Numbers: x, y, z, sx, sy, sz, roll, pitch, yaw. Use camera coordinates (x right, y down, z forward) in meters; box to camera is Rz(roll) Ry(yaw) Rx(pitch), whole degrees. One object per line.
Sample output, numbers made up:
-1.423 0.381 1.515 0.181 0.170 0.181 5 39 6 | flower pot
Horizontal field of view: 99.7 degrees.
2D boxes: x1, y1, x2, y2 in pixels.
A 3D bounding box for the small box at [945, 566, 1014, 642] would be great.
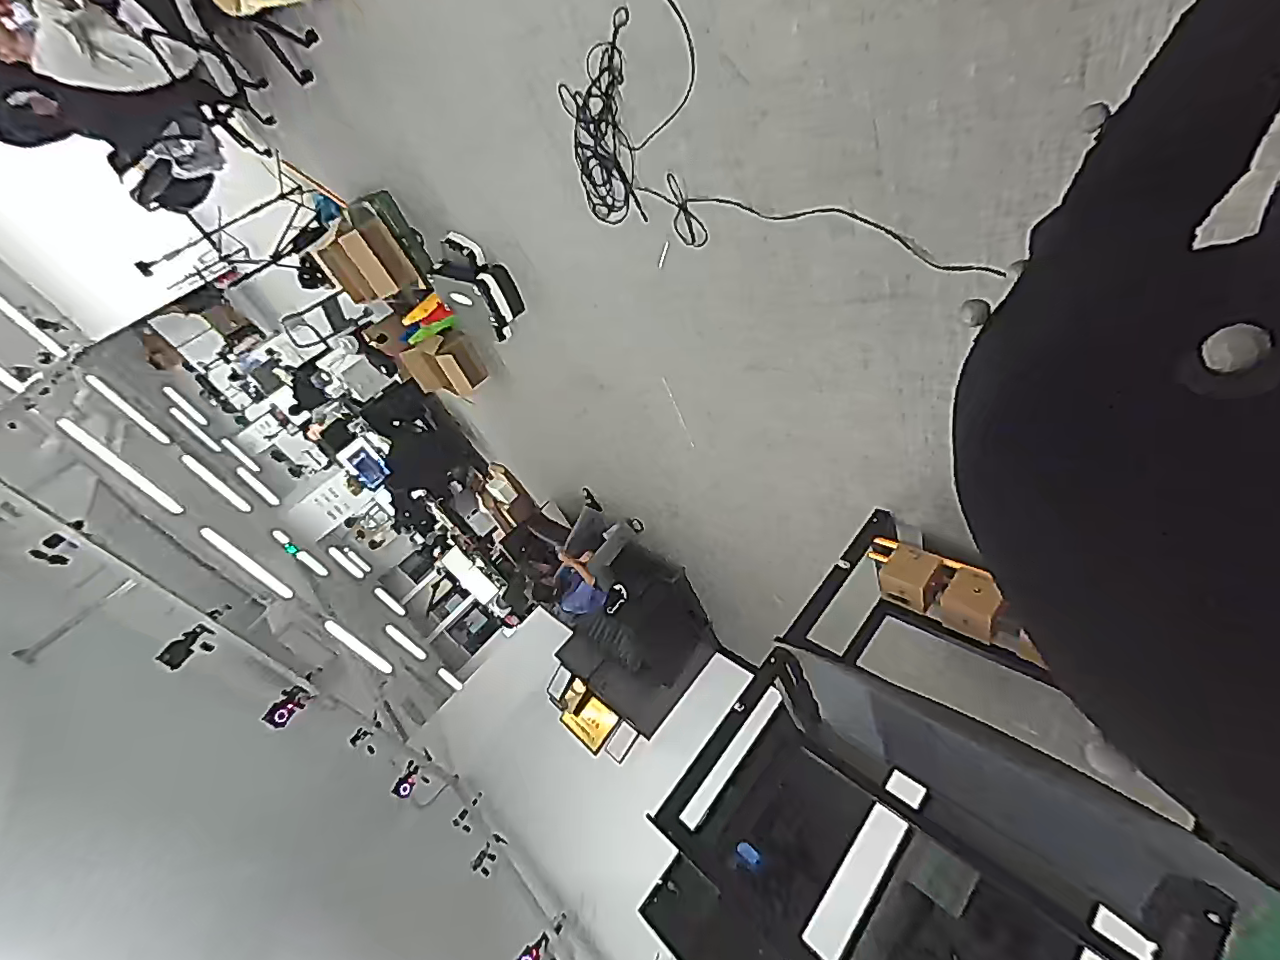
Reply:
1.219 0.437 1.941 0.168 0.176 0.179 21 148 46 | small box
